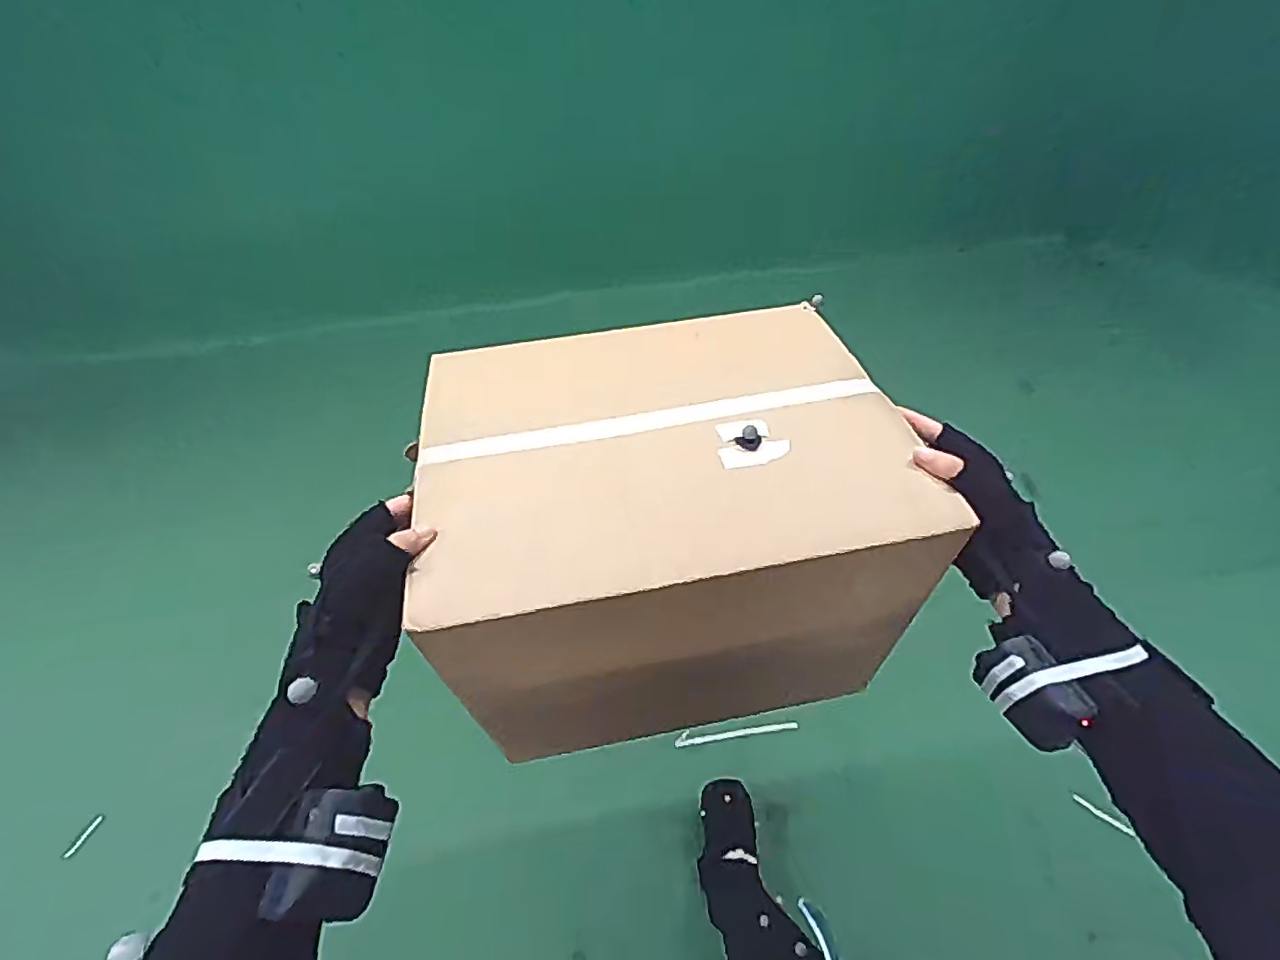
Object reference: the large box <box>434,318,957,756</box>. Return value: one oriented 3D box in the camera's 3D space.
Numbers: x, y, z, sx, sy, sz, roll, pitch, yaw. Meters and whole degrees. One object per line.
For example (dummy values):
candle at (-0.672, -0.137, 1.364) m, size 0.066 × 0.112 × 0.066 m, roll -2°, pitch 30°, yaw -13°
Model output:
large box at (0.025, 0.059, 0.597) m, size 0.408 × 0.320 × 0.320 m, roll -9°, pitch 49°, yaw -6°
